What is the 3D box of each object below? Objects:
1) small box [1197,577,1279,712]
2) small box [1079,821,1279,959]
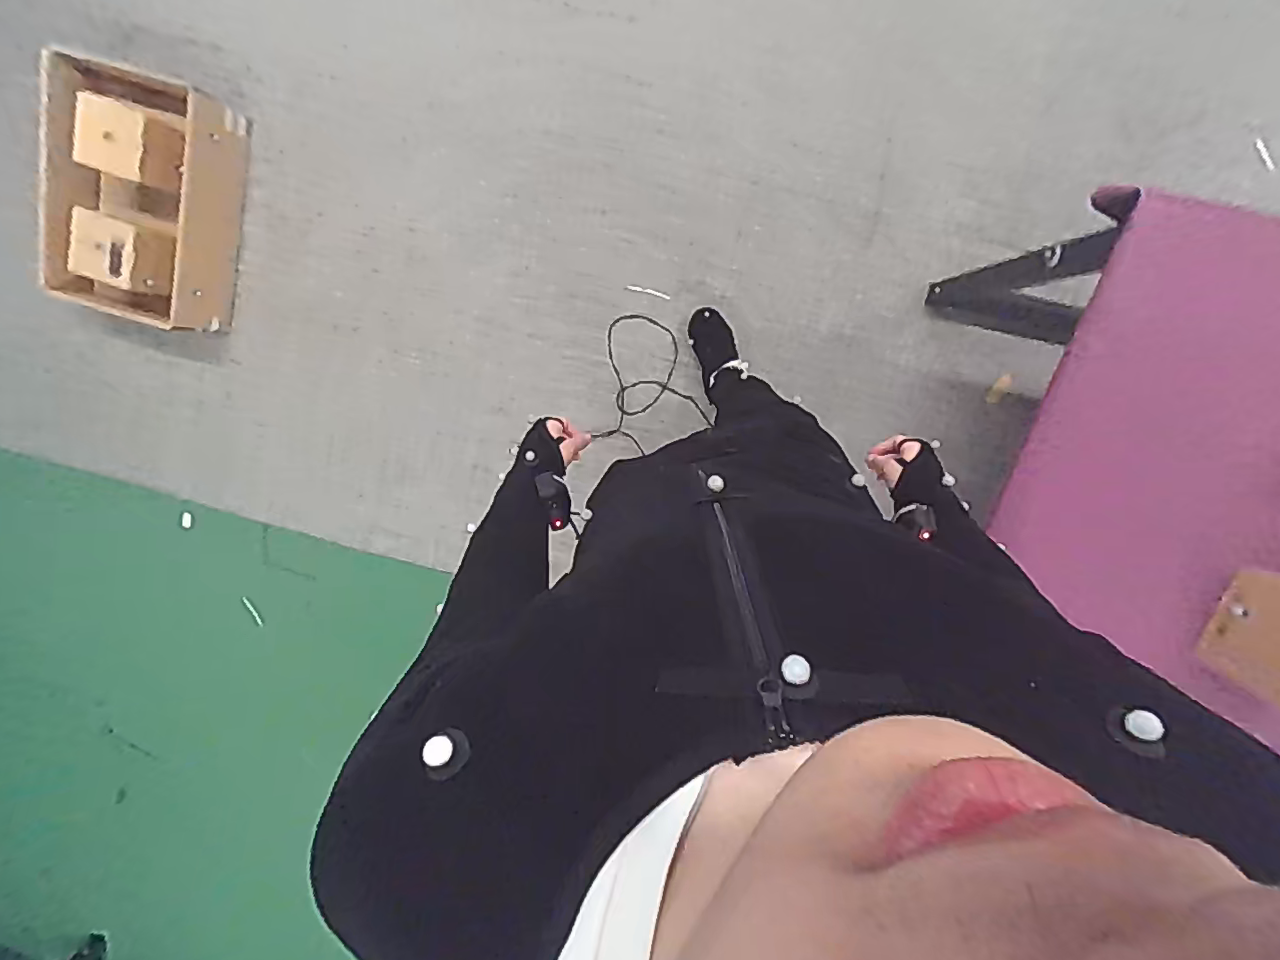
[{"bbox_3d":[0.994,0.258,0.779,0.179,0.176,0.168,15,102,2],"label":"small box"},{"bbox_3d":[0.868,0.701,0.883,0.179,0.176,0.168,14,102,2],"label":"small box"}]
